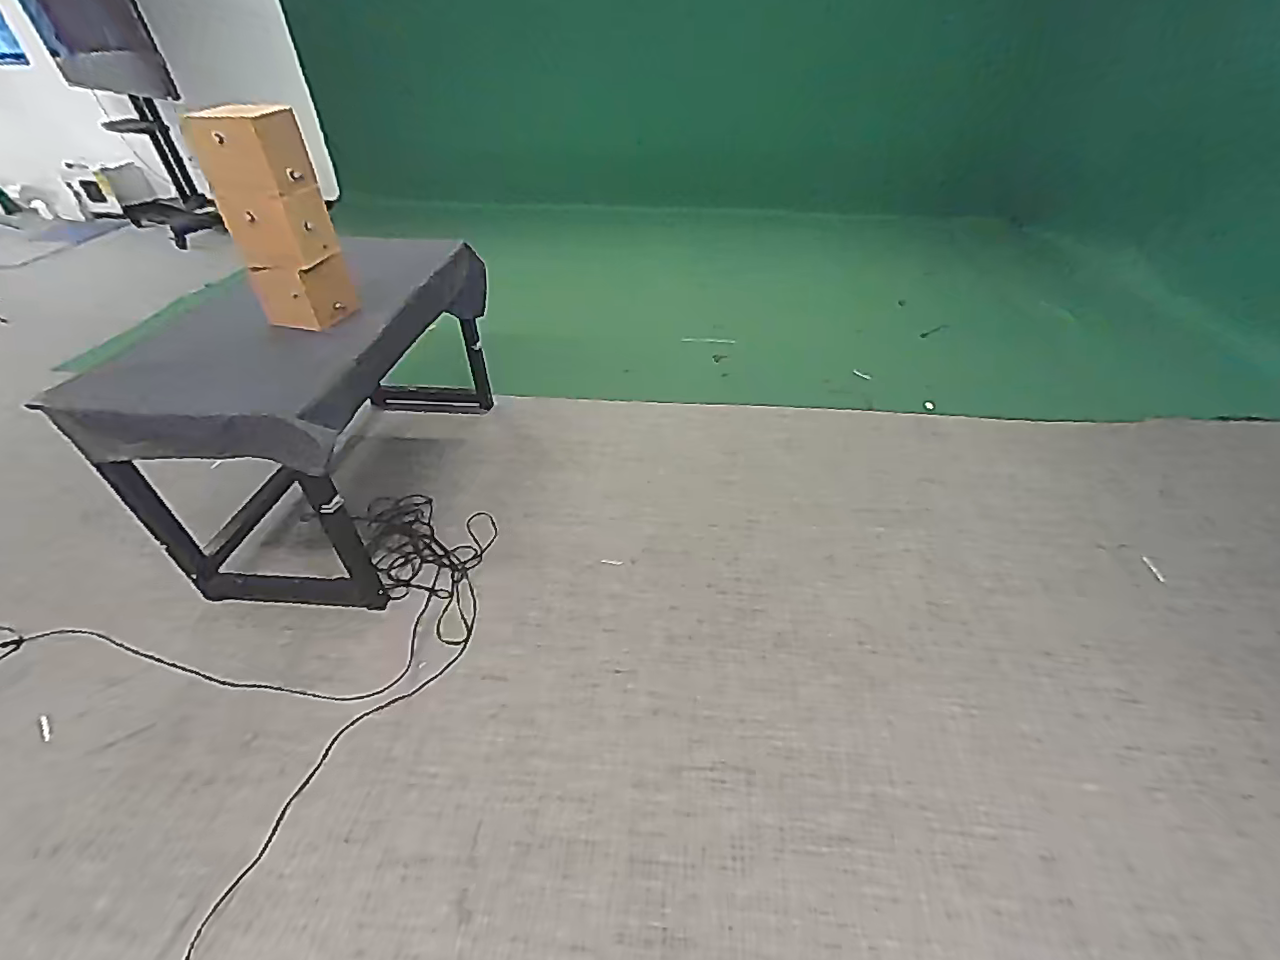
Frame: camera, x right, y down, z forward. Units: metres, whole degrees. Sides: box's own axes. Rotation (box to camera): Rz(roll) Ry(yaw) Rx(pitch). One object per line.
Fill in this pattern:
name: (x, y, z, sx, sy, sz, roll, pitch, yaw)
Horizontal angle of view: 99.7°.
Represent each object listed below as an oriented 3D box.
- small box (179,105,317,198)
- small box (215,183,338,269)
small box: (-0.925, -0.785, 1.296, 0.179, 0.176, 0.168, 4, 42, 4)
small box: (-0.923, -0.657, 1.396, 0.179, 0.176, 0.168, 4, 41, 5)
